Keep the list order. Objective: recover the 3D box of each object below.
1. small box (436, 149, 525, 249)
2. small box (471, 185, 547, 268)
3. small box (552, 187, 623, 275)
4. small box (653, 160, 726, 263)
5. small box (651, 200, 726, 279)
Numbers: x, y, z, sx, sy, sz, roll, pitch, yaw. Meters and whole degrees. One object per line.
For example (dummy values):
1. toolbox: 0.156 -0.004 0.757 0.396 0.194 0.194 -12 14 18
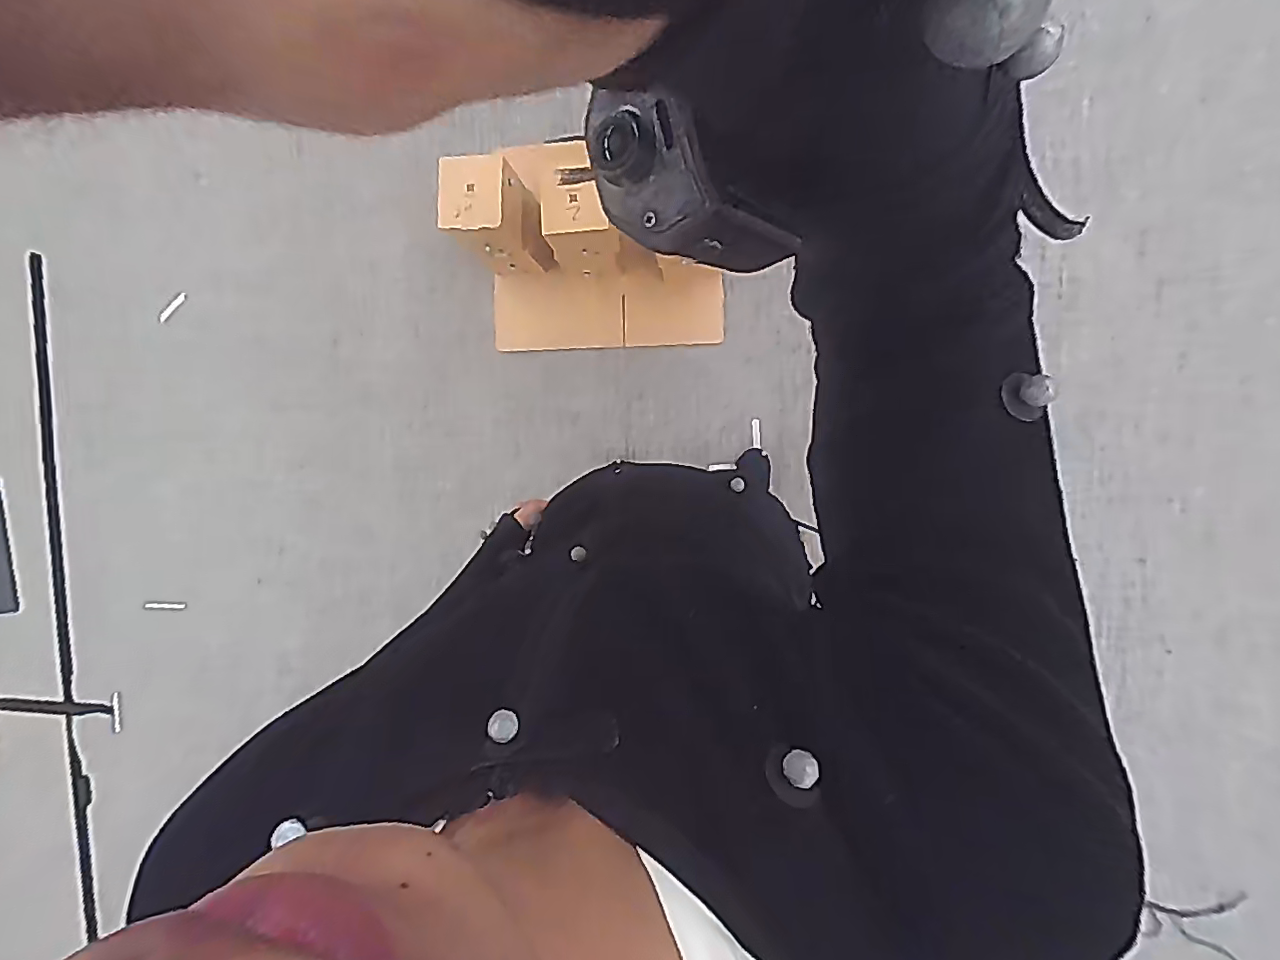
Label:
1. small box: -0.400 -0.709 1.377 0.168 0.176 0.179 3 94 8
2. small box: -0.369 -0.712 1.539 0.168 0.176 0.179 2 95 8
3. small box: -0.141 -0.693 1.512 0.168 0.176 0.179 3 94 6
4. small box: 0.120 -0.646 1.318 0.168 0.176 0.179 1 94 7
5. small box: 0.136 -0.668 1.479 0.179 0.176 0.168 -9 93 7
